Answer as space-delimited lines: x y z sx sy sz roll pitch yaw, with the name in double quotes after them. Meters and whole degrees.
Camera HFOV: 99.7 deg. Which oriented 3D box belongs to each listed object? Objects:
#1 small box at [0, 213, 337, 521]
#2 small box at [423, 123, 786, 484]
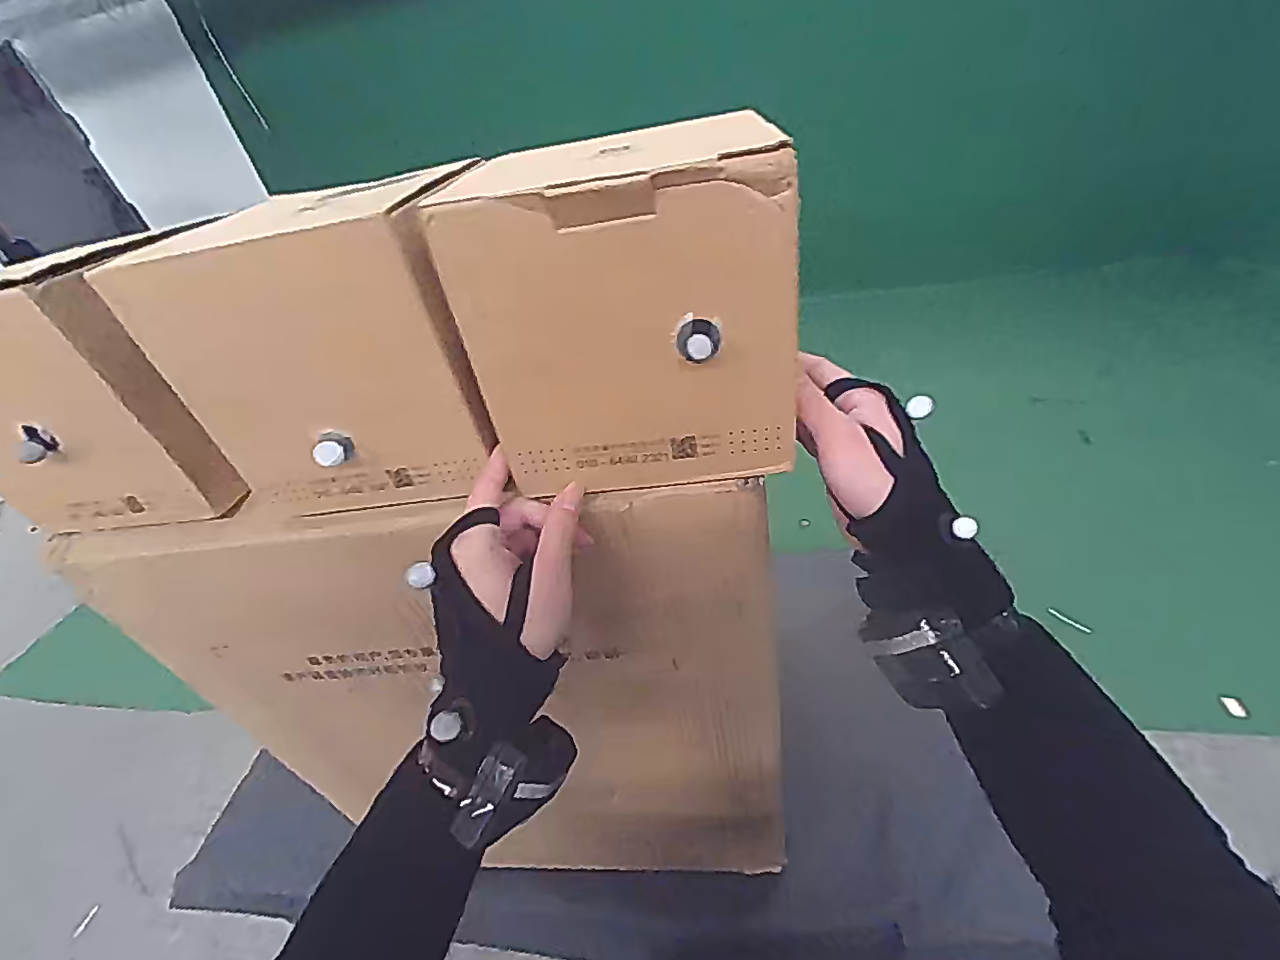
-0.378 -0.081 0.416 0.168 0.176 0.179 -6 38 11 "small box"
-0.004 -0.109 0.345 0.168 0.176 0.179 -5 37 6 "small box"
